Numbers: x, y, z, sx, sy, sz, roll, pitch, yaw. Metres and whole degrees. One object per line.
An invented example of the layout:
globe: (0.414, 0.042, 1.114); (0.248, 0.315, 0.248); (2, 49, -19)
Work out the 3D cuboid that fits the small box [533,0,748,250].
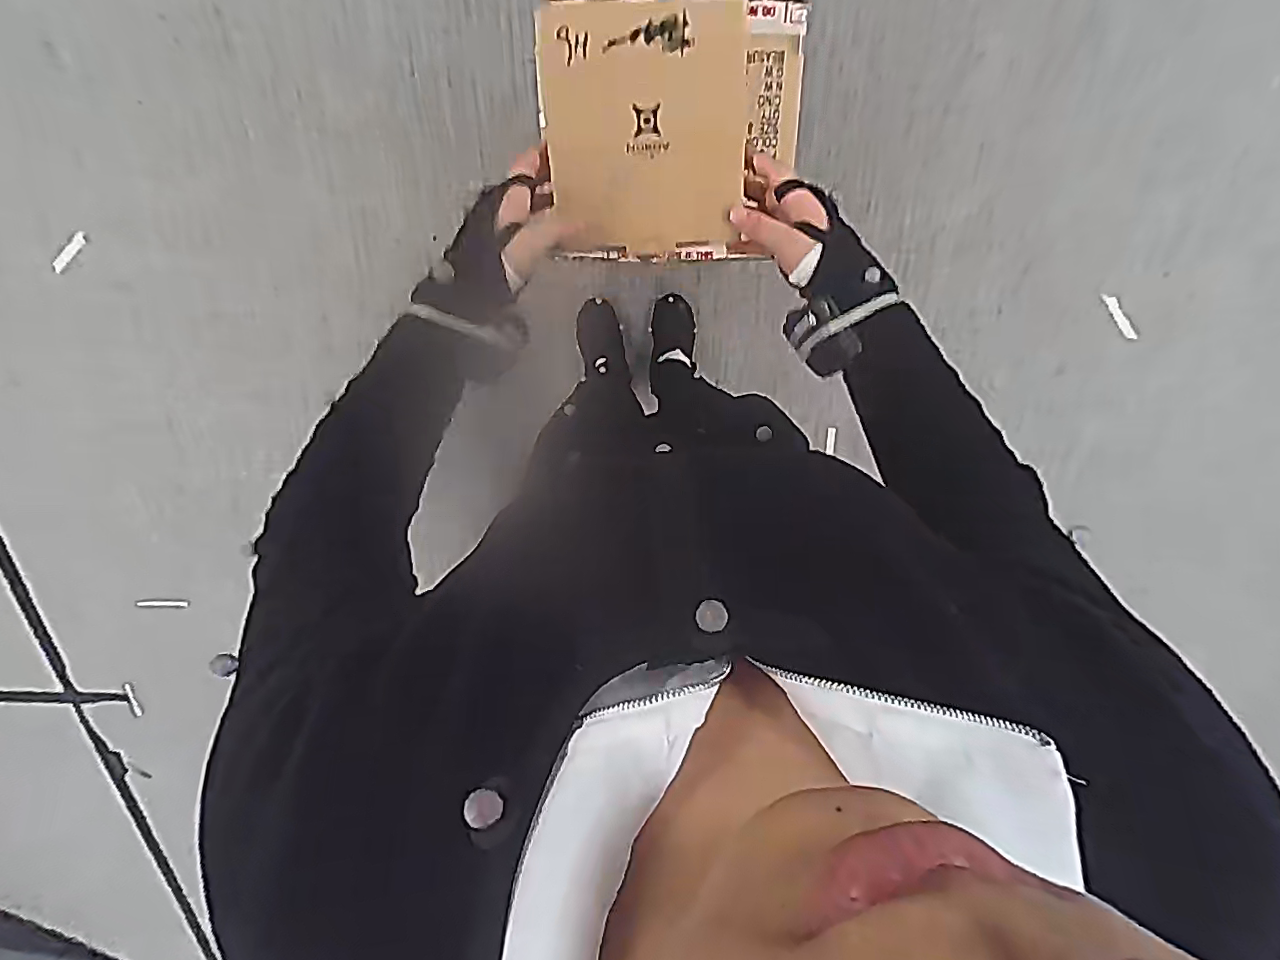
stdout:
small box: (0.001, -0.323, 0.515); (0.168, 0.176, 0.179); (-4, 116, -1)
